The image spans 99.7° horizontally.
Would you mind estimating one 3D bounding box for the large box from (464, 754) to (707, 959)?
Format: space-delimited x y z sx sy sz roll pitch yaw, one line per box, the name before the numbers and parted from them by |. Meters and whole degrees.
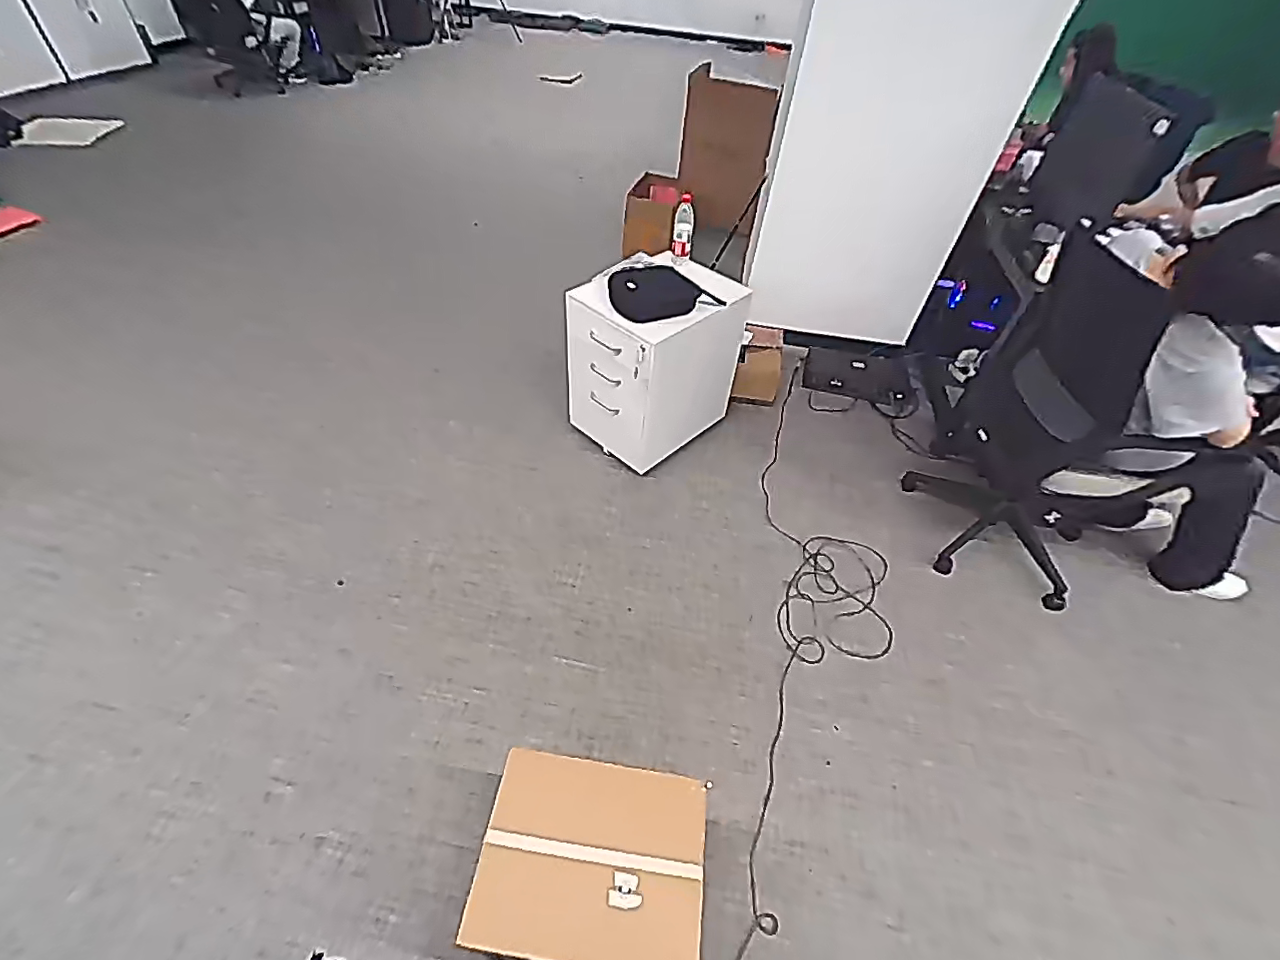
large box | -0.094 0.796 1.097 0.408 0.320 0.320 9 47 2
